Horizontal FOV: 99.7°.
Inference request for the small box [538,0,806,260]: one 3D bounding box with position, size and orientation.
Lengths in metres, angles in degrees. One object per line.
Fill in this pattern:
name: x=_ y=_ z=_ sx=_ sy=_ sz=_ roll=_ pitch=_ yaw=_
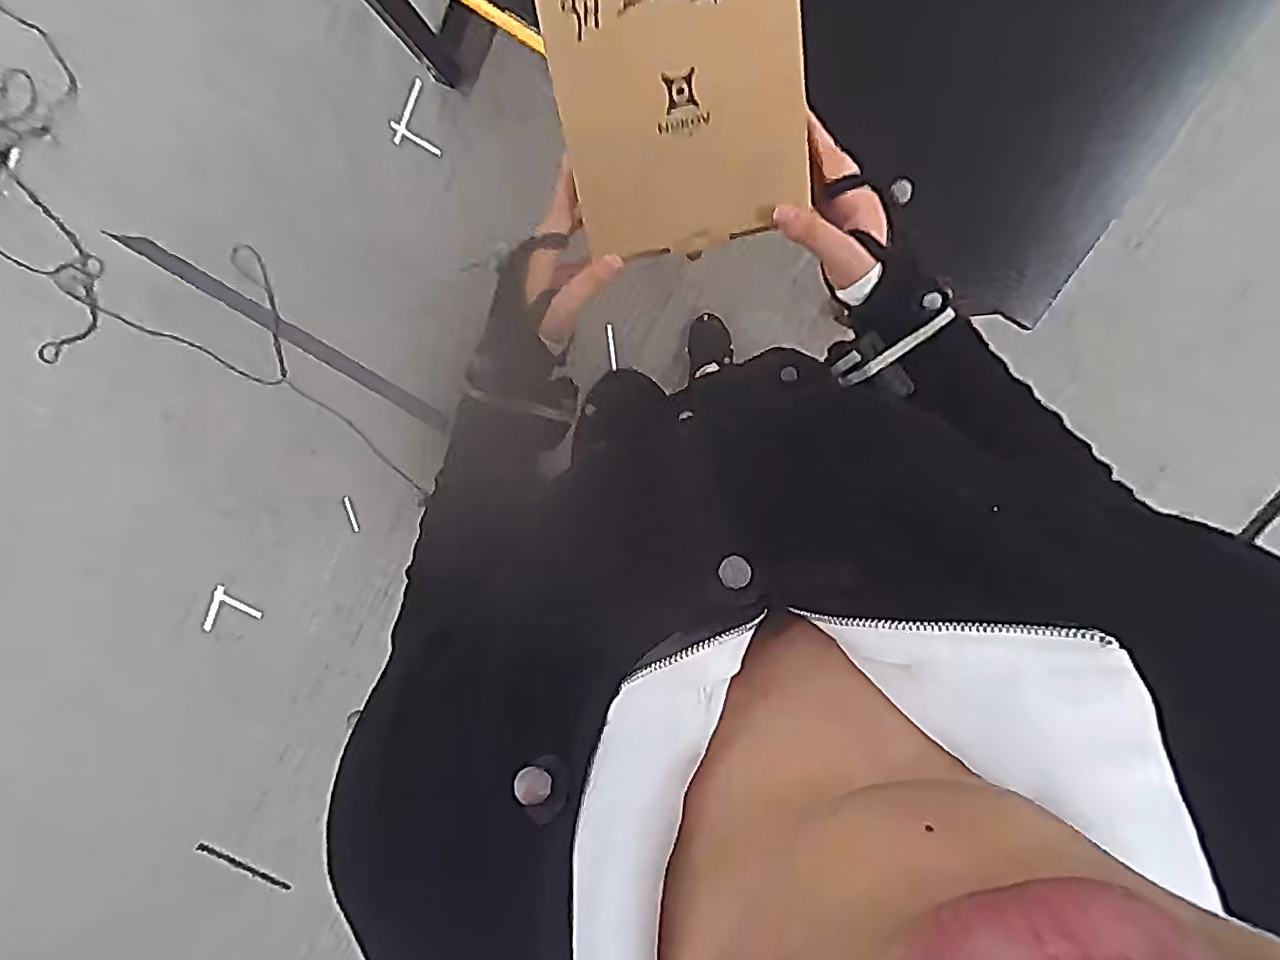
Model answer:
small box: x=0.031 y=-0.292 z=0.435 sx=0.168 sy=0.176 sz=0.179 roll=-9 pitch=116 yaw=6
